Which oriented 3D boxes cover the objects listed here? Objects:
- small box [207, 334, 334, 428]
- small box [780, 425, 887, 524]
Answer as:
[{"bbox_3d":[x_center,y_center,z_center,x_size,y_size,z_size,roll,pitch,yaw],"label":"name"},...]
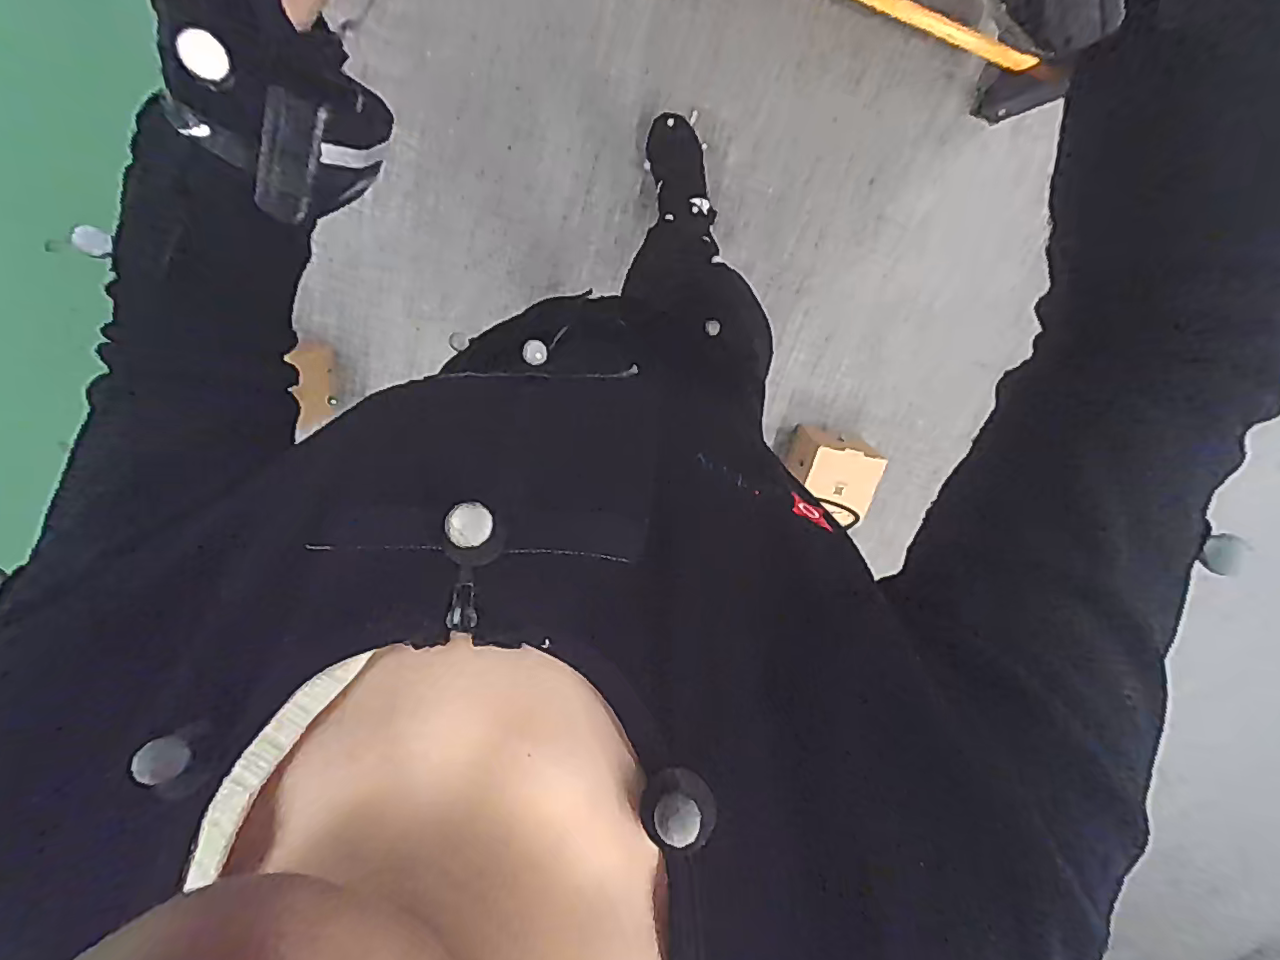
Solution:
[{"bbox_3d":[-0.819,-0.229,1.223,0.179,0.176,0.168,8,112,-2],"label":"small box"},{"bbox_3d":[0.455,-0.020,1.304,0.168,0.176,0.179,12,111,-5],"label":"small box"}]
